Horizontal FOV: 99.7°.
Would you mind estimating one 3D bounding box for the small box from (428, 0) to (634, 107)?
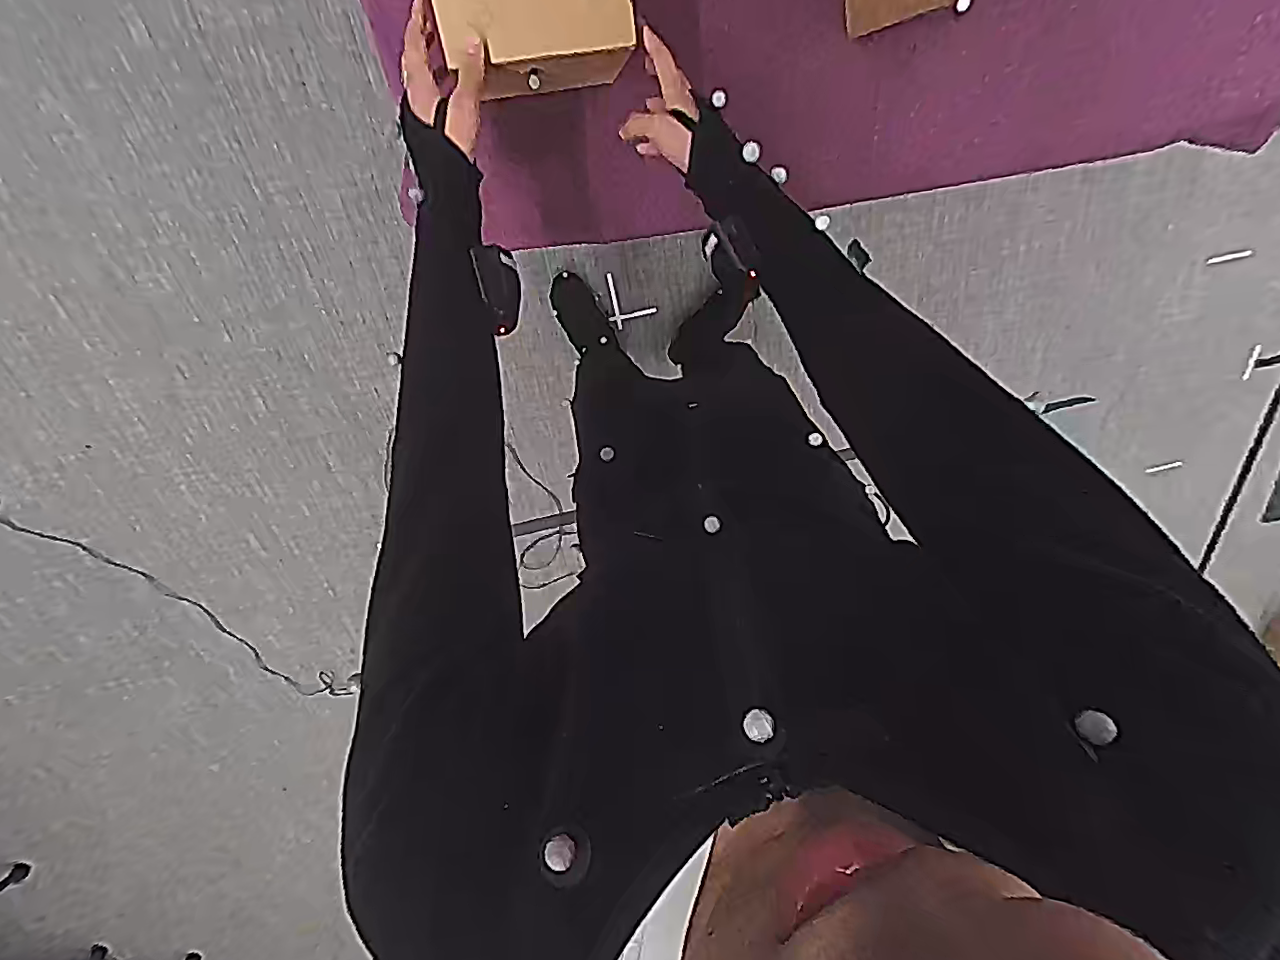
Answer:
[{"bbox_3d":[-0.113,-0.483,0.529,0.179,0.176,0.168,-11,118,-7],"label":"small box"}]
